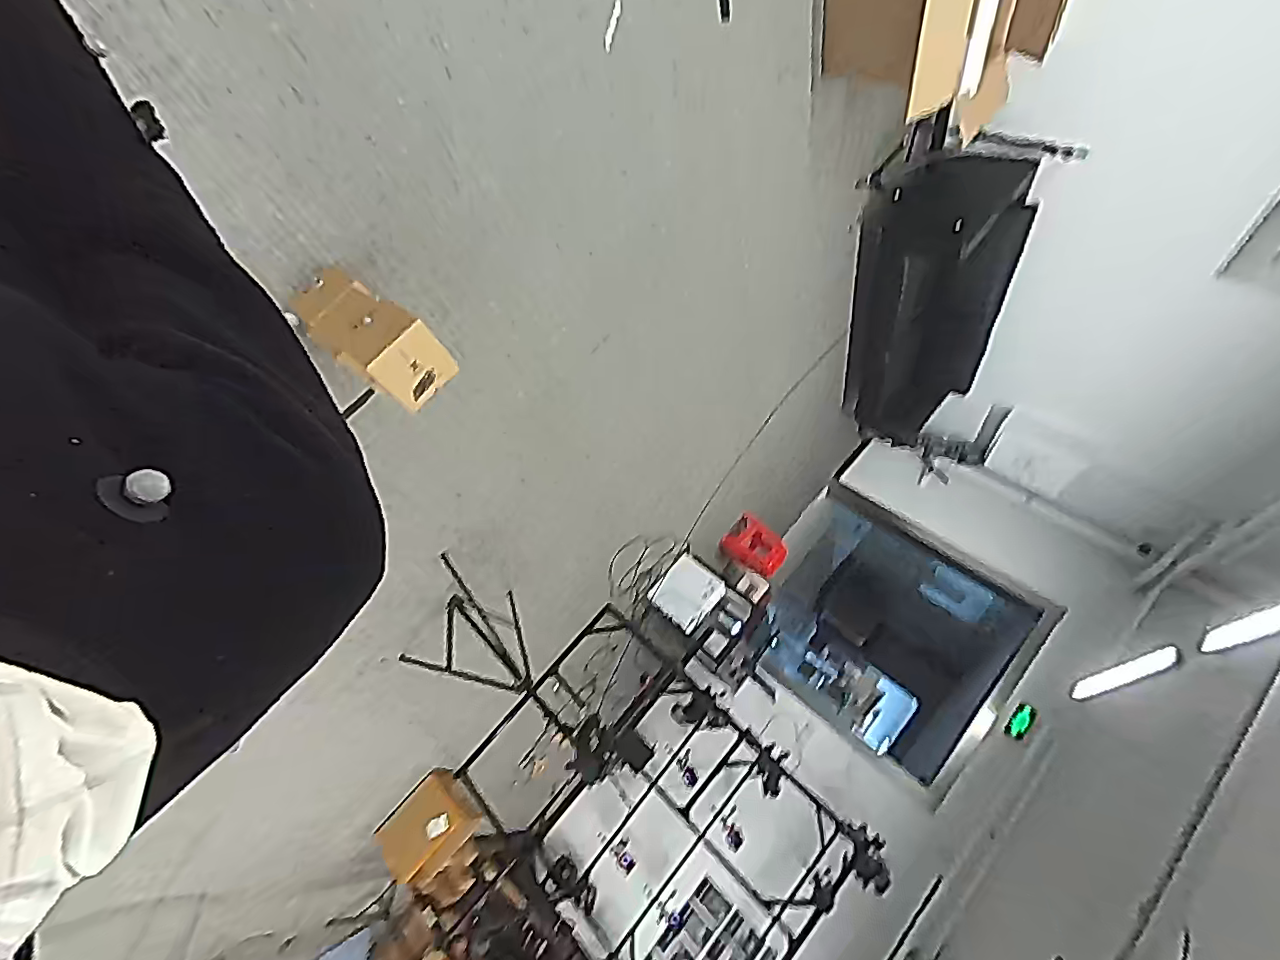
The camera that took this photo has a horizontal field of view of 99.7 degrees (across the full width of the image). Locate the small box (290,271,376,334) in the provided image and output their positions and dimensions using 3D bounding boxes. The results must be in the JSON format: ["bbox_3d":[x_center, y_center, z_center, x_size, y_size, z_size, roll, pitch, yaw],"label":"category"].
[{"bbox_3d":[-0.807,-0.440,1.485,0.168,0.176,0.179,-49,149,-10],"label":"small box"}]

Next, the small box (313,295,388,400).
[{"bbox_3d":[-0.699,-0.347,1.403,0.179,0.176,0.168,-50,150,-9],"label":"small box"}]

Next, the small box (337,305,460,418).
[{"bbox_3d":[-0.579,-0.288,1.304,0.168,0.176,0.179,-49,149,-13],"label":"small box"}]
